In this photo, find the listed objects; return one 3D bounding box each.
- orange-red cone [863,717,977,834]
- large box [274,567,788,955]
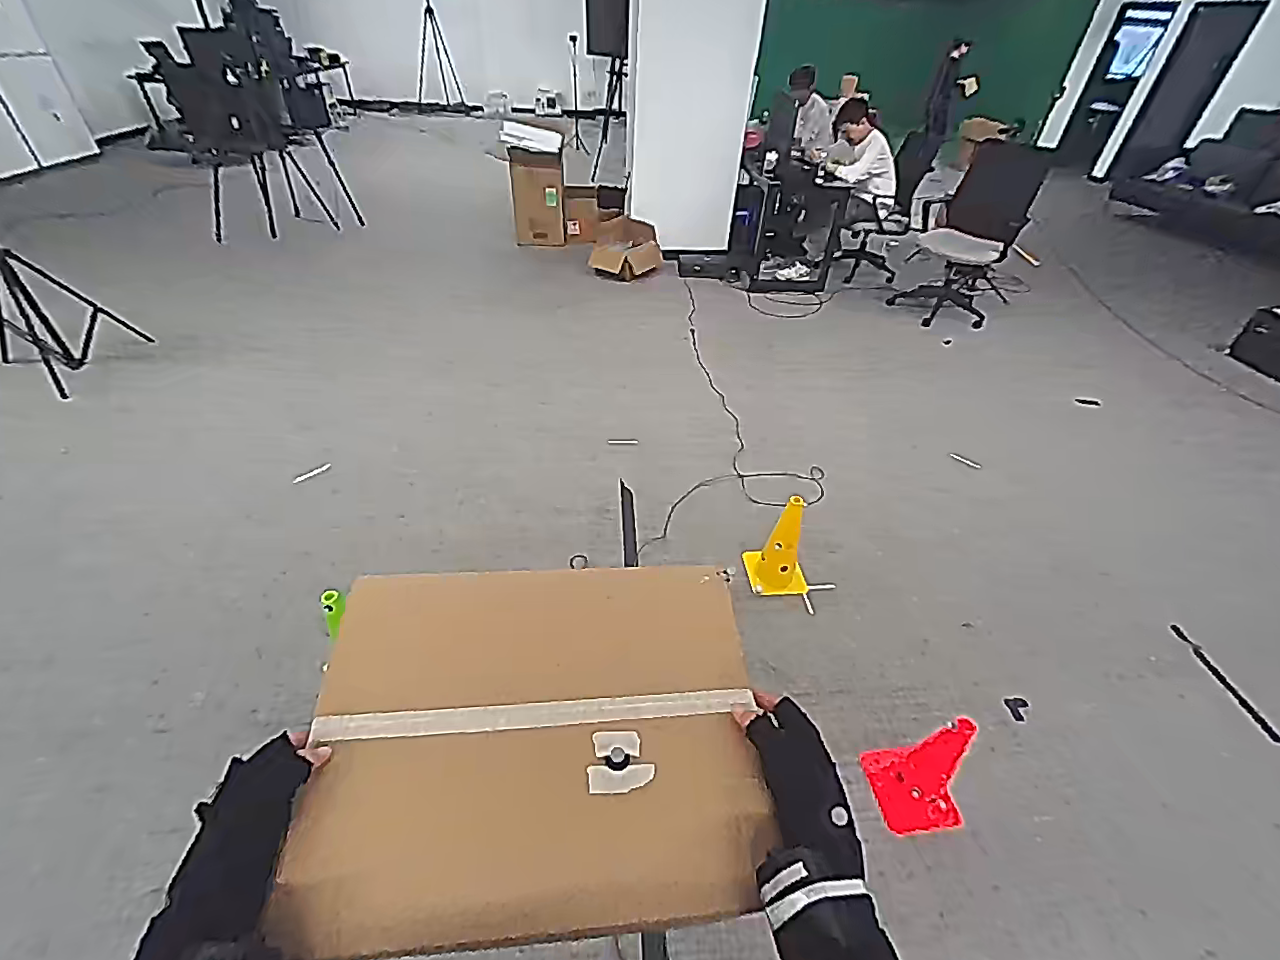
[{"bbox_3d":[0.712,0.673,1.299,0.198,0.360,0.199,-1,39,-7],"label":"orange-red cone"},{"bbox_3d":[-0.101,0.318,0.624,0.408,0.320,0.320,0,49,-7],"label":"large box"}]
